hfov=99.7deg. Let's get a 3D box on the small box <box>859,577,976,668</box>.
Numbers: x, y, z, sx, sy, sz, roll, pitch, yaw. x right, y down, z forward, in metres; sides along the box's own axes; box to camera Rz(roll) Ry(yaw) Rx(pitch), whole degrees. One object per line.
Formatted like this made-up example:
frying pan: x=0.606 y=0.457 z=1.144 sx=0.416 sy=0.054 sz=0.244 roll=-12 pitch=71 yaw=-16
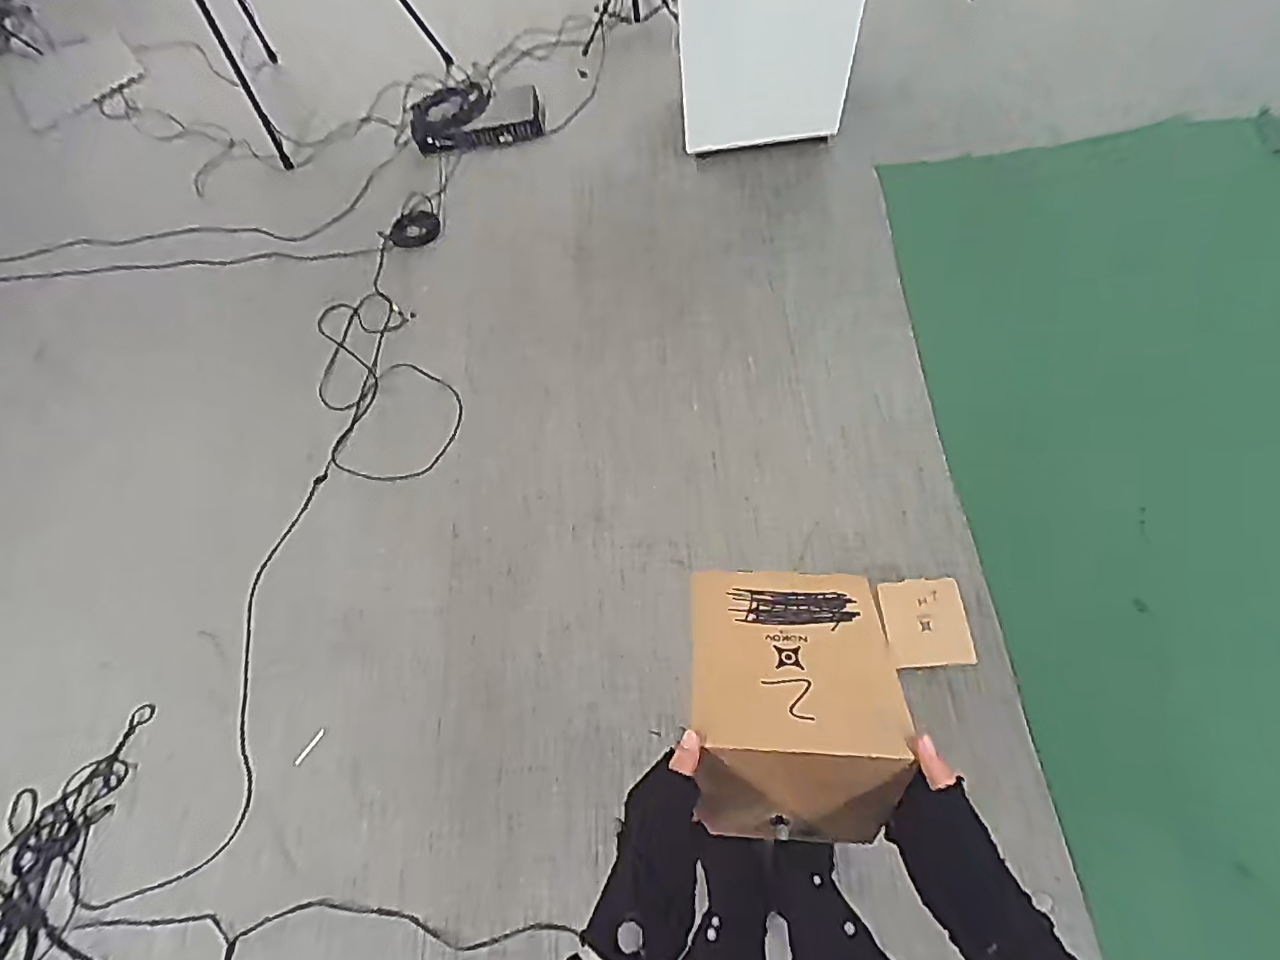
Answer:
small box: x=0.597 y=0.318 z=1.186 sx=0.168 sy=0.176 sz=0.179 roll=-5 pitch=68 yaw=5
